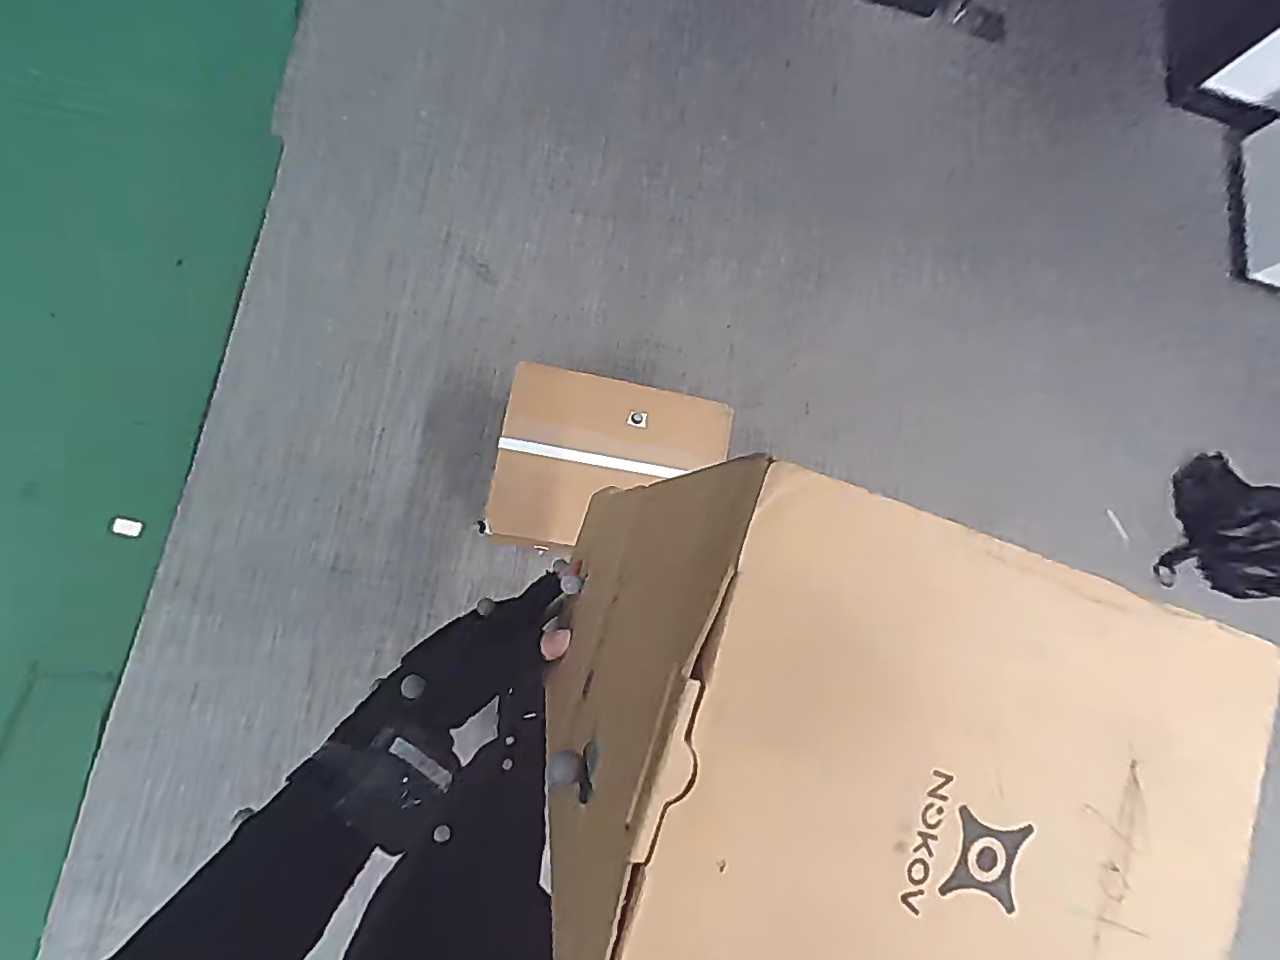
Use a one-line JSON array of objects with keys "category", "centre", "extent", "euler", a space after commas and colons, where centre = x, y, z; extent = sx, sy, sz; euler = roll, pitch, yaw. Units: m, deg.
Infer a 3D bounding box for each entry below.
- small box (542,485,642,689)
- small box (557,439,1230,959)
[{"category": "small box", "centre": [0.008, 0.114, 0.549], "extent": [0.168, 0.176, 0.179], "euler": [18, 84, -8]}, {"category": "small box", "centre": [0.069, 0.095, 0.229], "extent": [0.179, 0.176, 0.168], "euler": [17, 85, -9]}]
